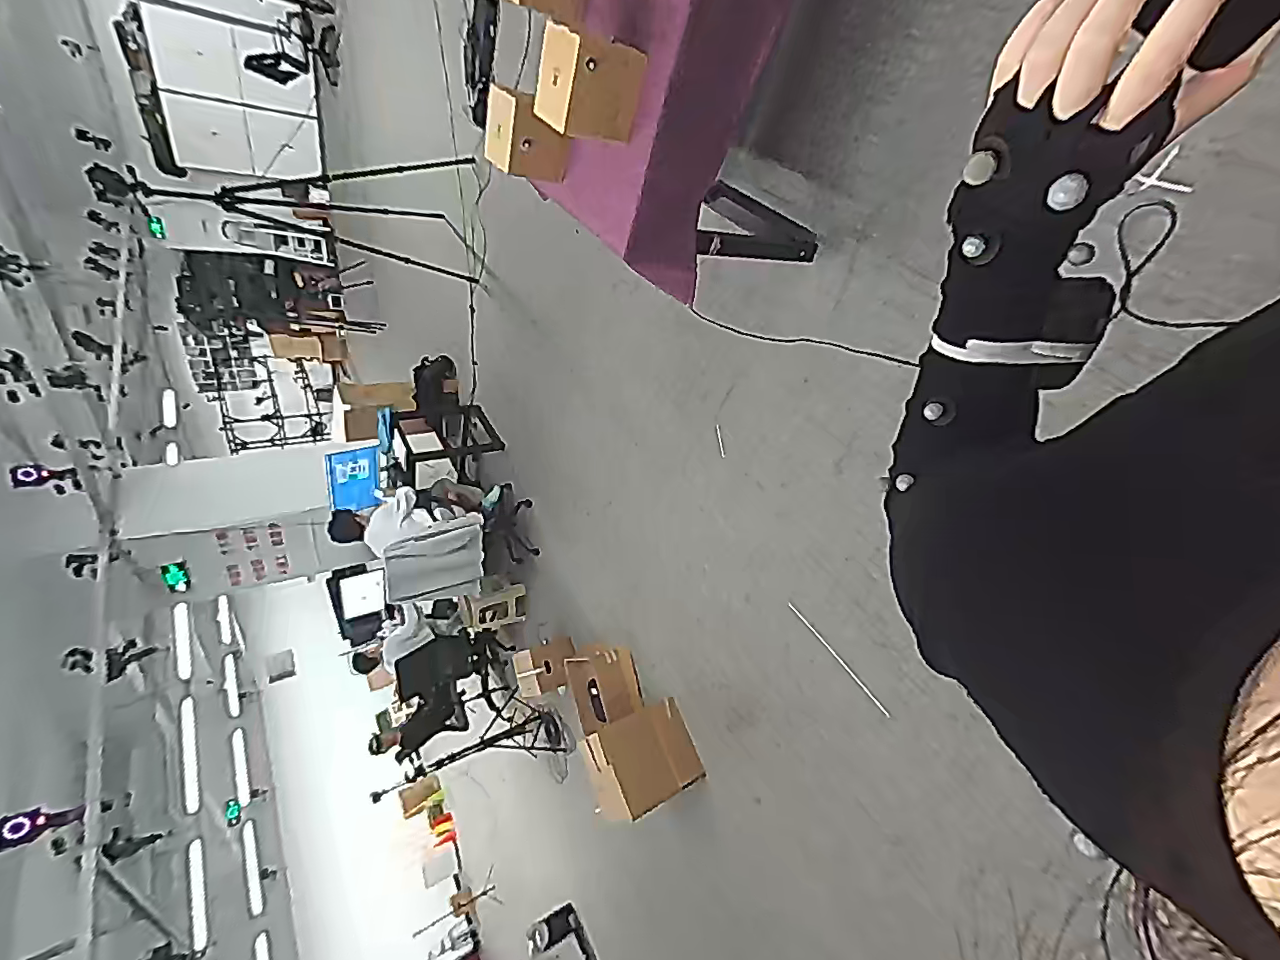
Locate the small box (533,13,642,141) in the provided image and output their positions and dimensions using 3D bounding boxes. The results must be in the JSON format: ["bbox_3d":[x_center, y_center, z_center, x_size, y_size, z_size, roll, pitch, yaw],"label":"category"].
[{"bbox_3d":[-0.116,-0.881,1.194,0.168,0.176,0.179,53,138,32],"label":"small box"}]
